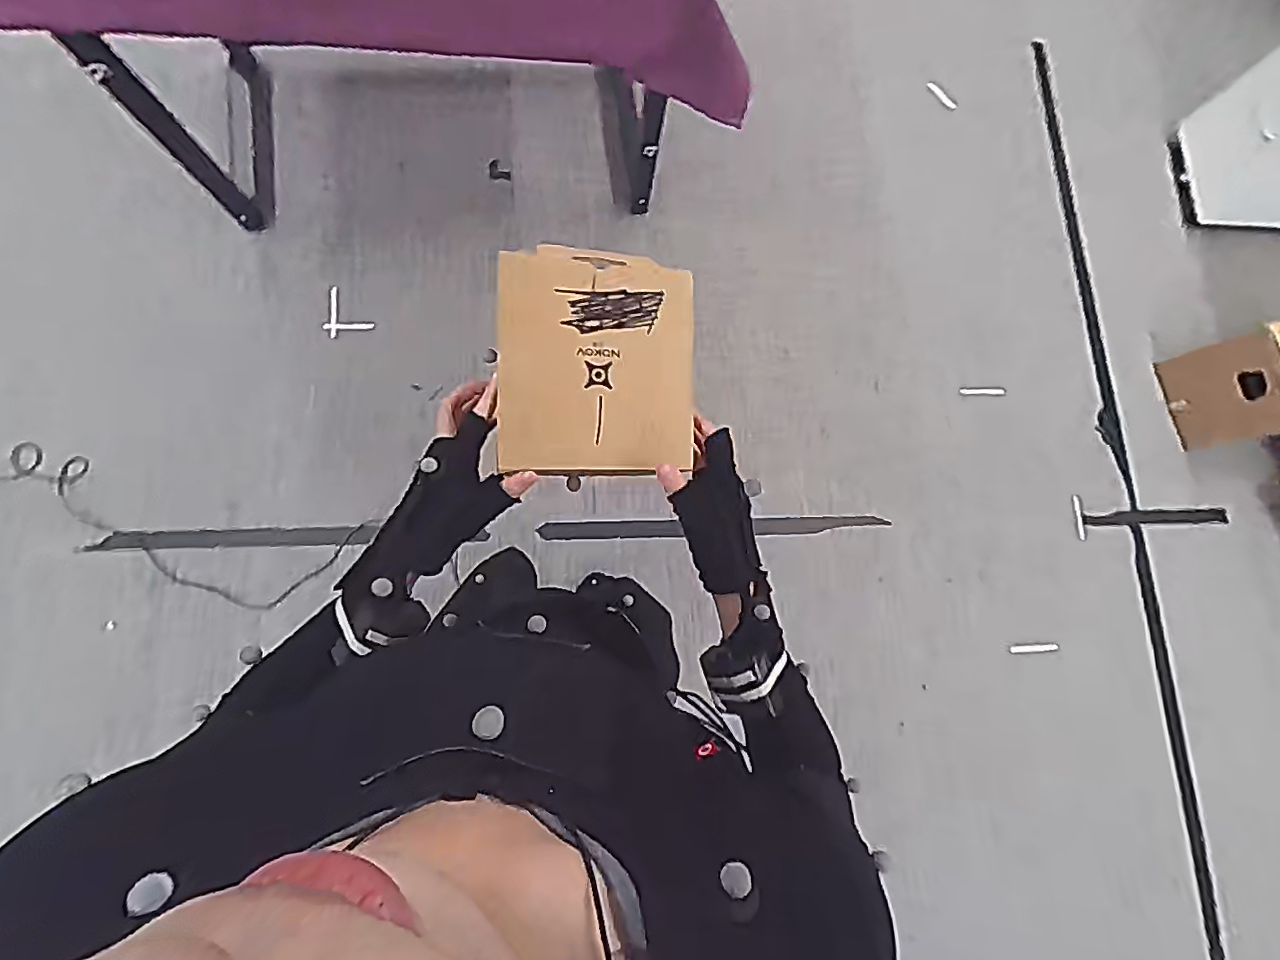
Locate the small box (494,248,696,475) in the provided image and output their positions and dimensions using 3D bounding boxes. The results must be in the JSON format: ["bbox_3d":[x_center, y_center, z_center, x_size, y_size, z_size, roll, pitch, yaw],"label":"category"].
[{"bbox_3d":[-0.054,-0.096,0.521,0.168,0.176,0.179,-2,89,-15],"label":"small box"}]
